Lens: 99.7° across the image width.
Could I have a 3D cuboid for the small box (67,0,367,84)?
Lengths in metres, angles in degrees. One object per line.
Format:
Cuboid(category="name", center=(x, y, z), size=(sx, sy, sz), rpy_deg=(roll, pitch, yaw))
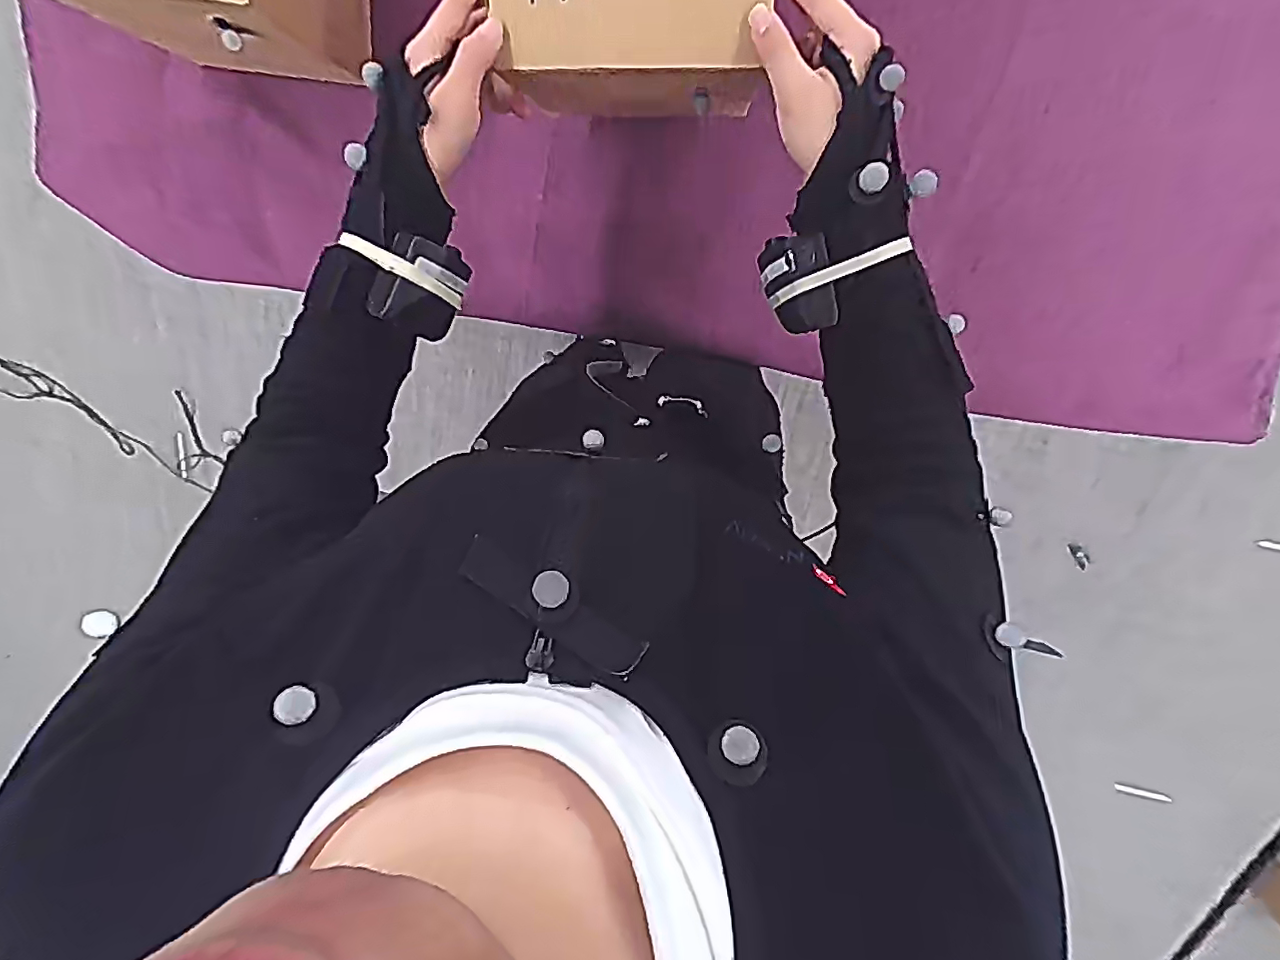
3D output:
Cuboid(category="small box", center=(-0.337, -0.443, 0.427), size=(0.179, 0.176, 0.168), rpy_deg=(8, 109, 0))
